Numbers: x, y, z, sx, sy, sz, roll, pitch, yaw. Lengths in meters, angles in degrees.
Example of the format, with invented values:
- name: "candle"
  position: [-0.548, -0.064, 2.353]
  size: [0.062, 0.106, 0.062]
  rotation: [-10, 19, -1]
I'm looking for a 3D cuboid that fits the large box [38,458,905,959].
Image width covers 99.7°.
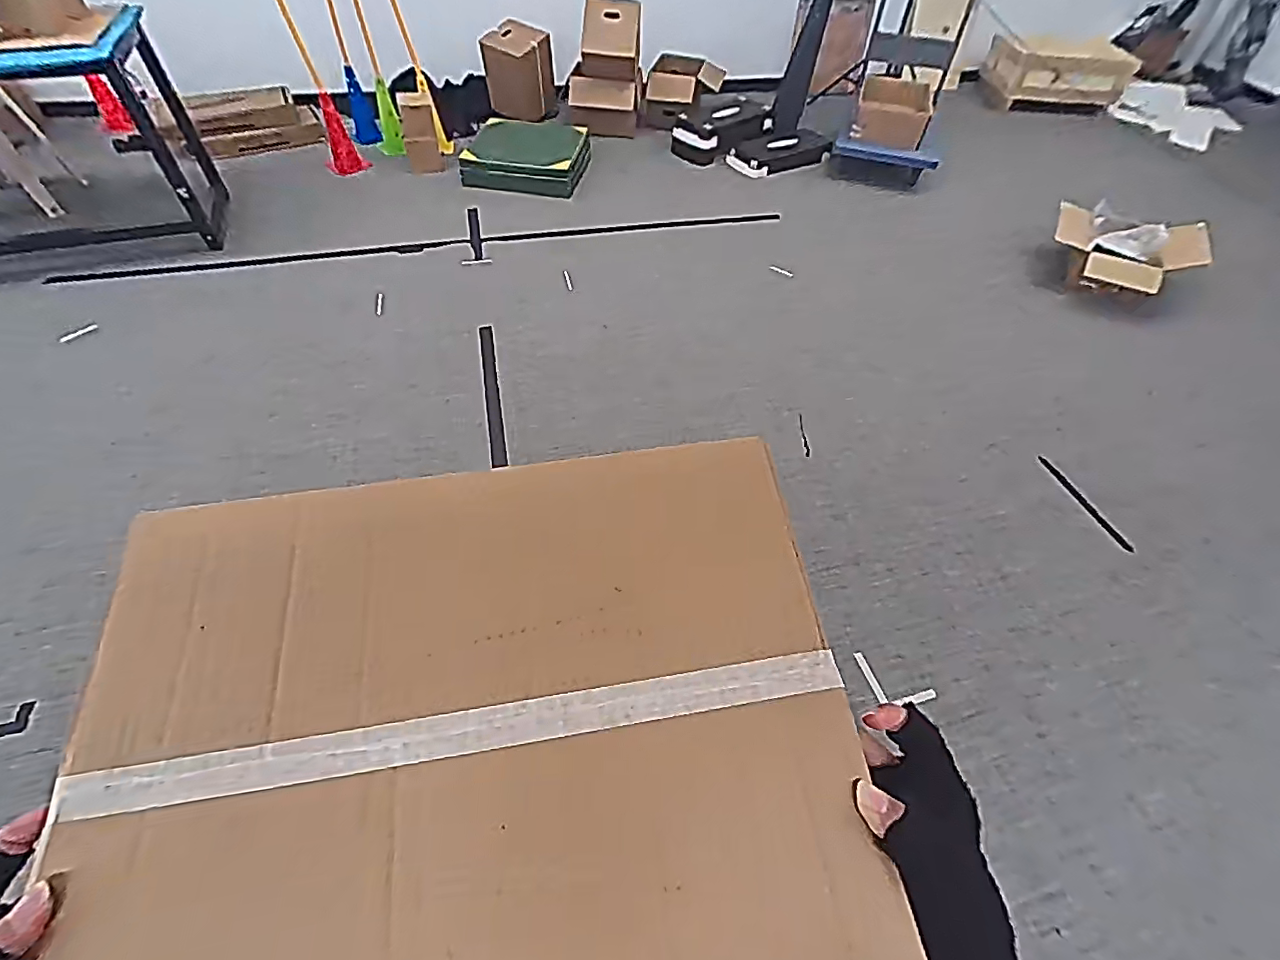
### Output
- name: "large box"
  position: [-0.091, 0.211, 0.428]
  size: [0.408, 0.320, 0.320]
  rotation: [-7, 62, -5]
